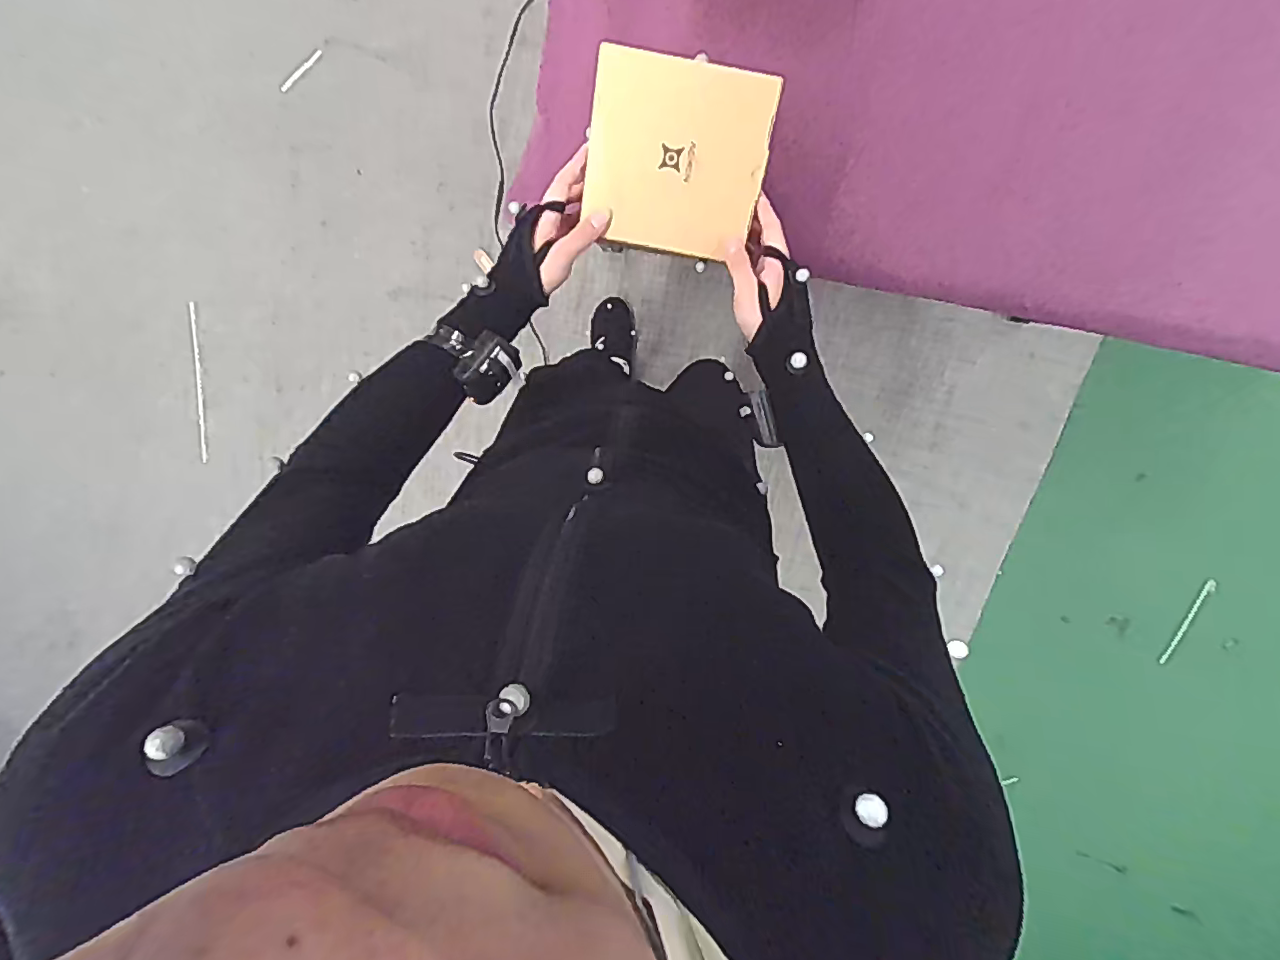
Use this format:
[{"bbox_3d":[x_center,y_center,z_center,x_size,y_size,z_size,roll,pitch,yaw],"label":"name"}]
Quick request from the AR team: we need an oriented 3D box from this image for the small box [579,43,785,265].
[{"bbox_3d":[0.039,-0.341,0.602,0.179,0.176,0.168,10,110,-2],"label":"small box"}]

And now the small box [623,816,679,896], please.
[{"bbox_3d":[0.040,1.376,1.989,0.179,0.176,0.168,11,108,-2],"label":"small box"}]
